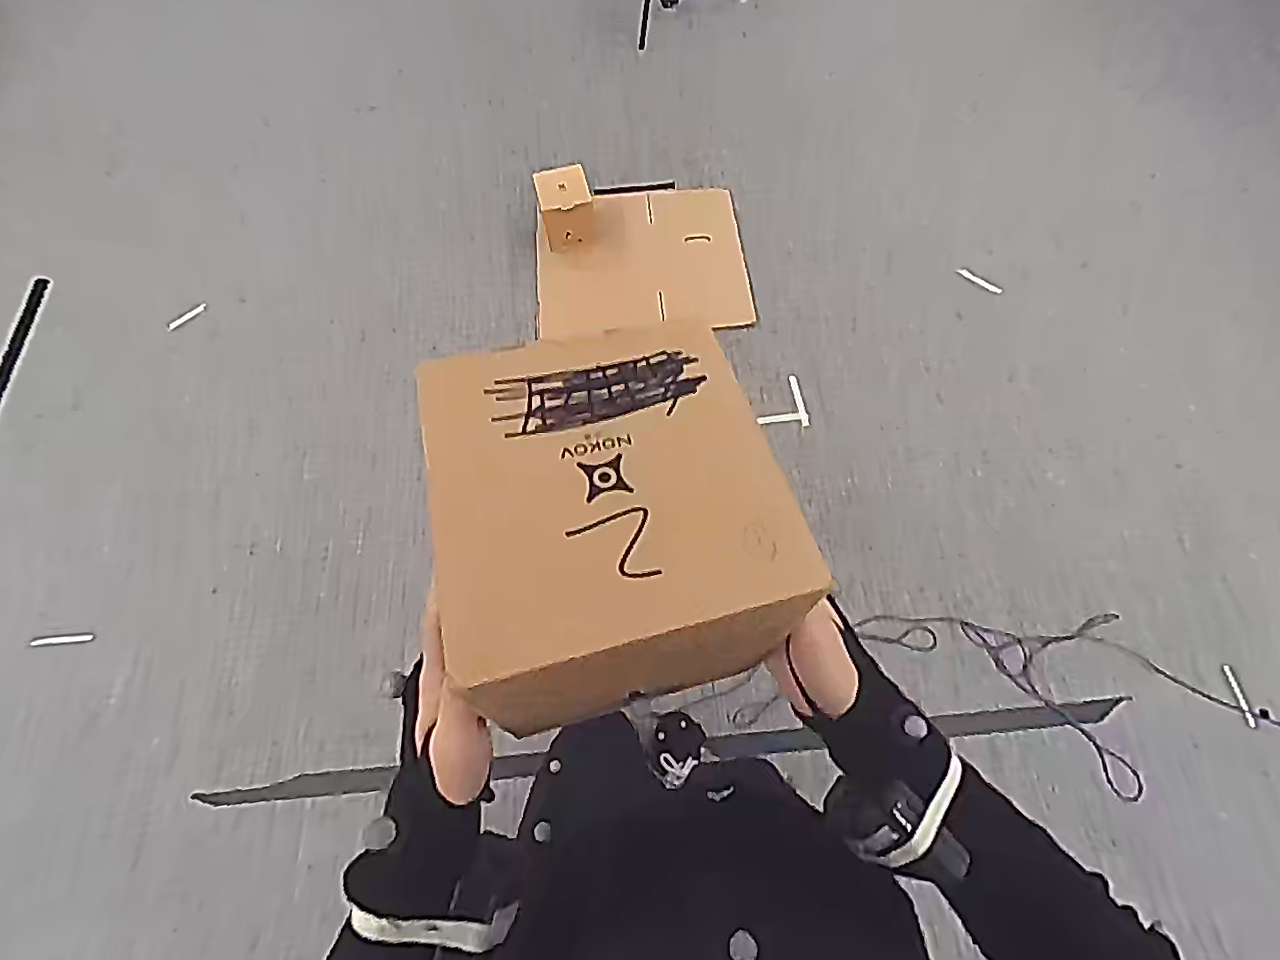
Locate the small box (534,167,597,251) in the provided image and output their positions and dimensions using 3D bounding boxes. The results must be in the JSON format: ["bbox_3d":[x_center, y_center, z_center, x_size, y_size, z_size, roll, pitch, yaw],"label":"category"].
[{"bbox_3d":[-0.246,-0.902,1.806,0.168,0.176,0.179,-15,68,-4],"label":"small box"}]
